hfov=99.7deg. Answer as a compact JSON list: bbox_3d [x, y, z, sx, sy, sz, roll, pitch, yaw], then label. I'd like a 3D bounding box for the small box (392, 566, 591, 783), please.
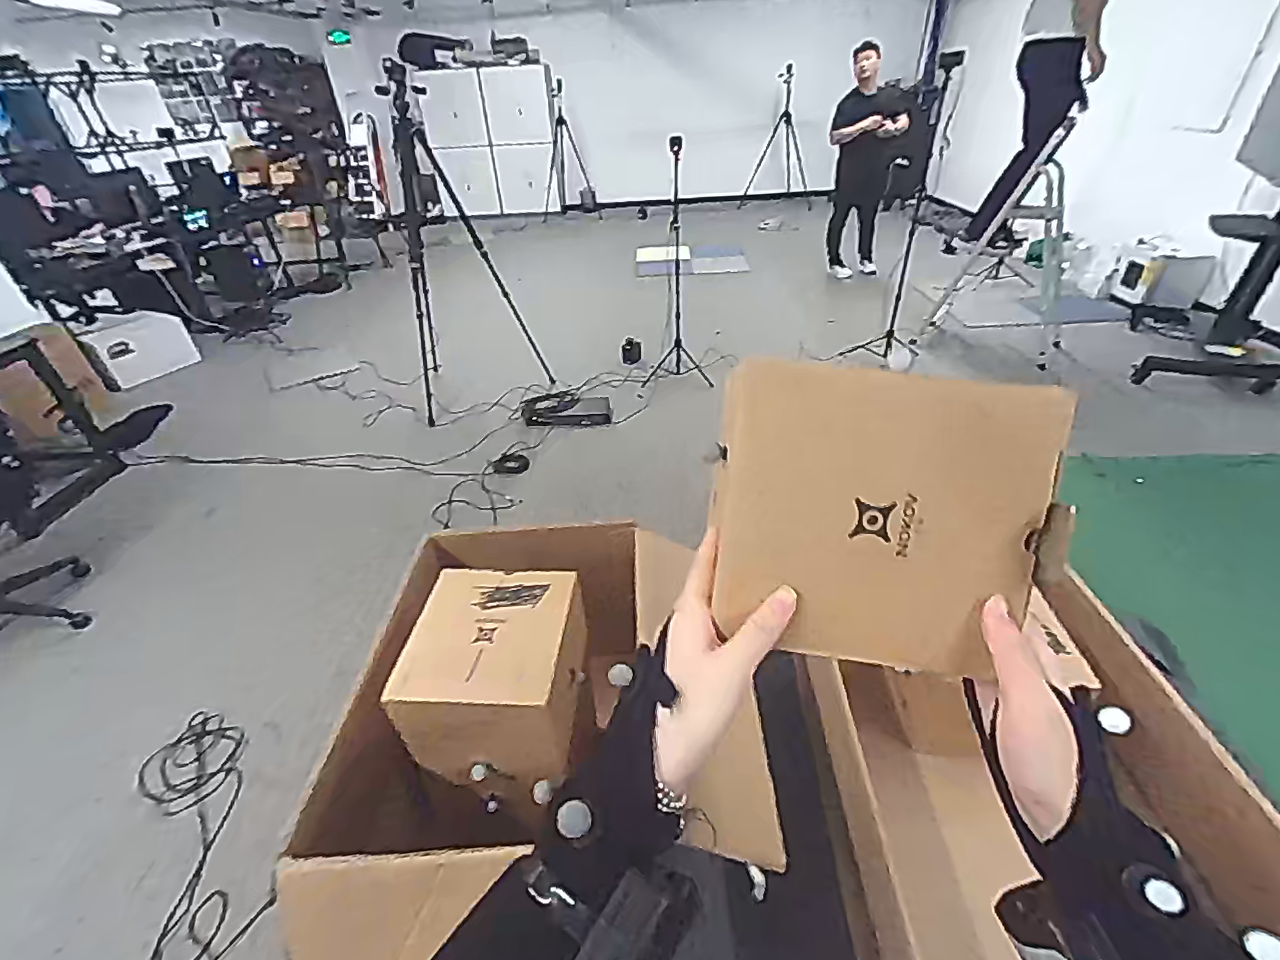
[{"bbox_3d":[-0.153,0.223,0.633,0.168,0.176,0.179,0,38,5],"label":"small box"}]

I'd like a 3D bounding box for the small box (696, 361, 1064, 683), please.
[{"bbox_3d":[0.136,0.014,0.382,0.179,0.168,0.176,7,10,3],"label":"small box"}]
